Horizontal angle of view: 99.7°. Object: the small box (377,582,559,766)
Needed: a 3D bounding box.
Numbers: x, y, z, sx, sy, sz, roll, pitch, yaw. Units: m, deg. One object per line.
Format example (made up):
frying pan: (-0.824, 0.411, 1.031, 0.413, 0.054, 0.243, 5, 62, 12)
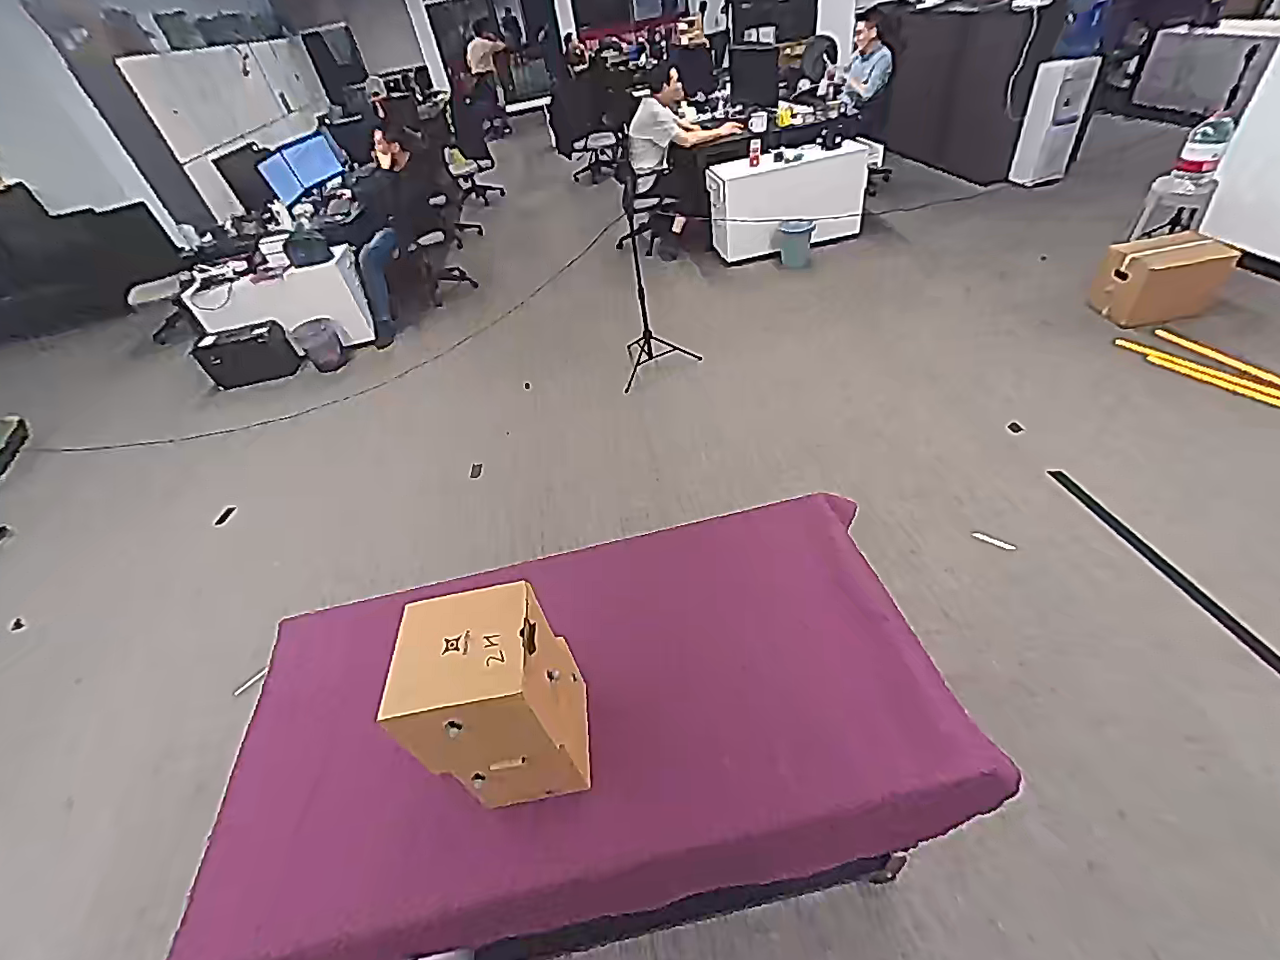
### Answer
small box: (-0.218, 0.267, 0.738, 0.179, 0.176, 0.168, -10, 42, 1)
